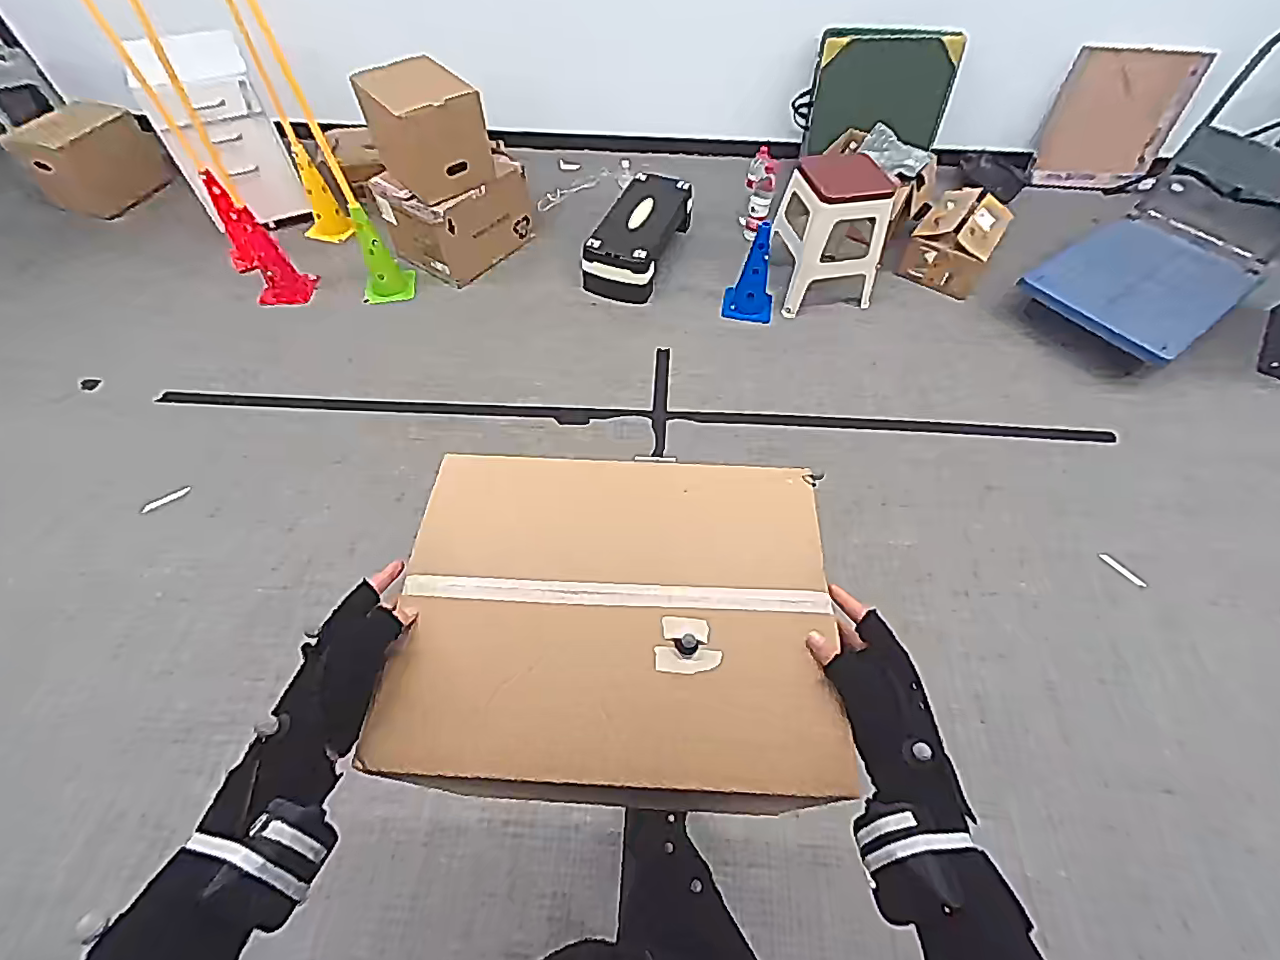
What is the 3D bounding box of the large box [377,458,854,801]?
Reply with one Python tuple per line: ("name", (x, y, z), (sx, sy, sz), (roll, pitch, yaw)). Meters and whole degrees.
("large box", (-0.019, 0.191, 0.648), (0.408, 0.320, 0.320), (3, 57, 1))
